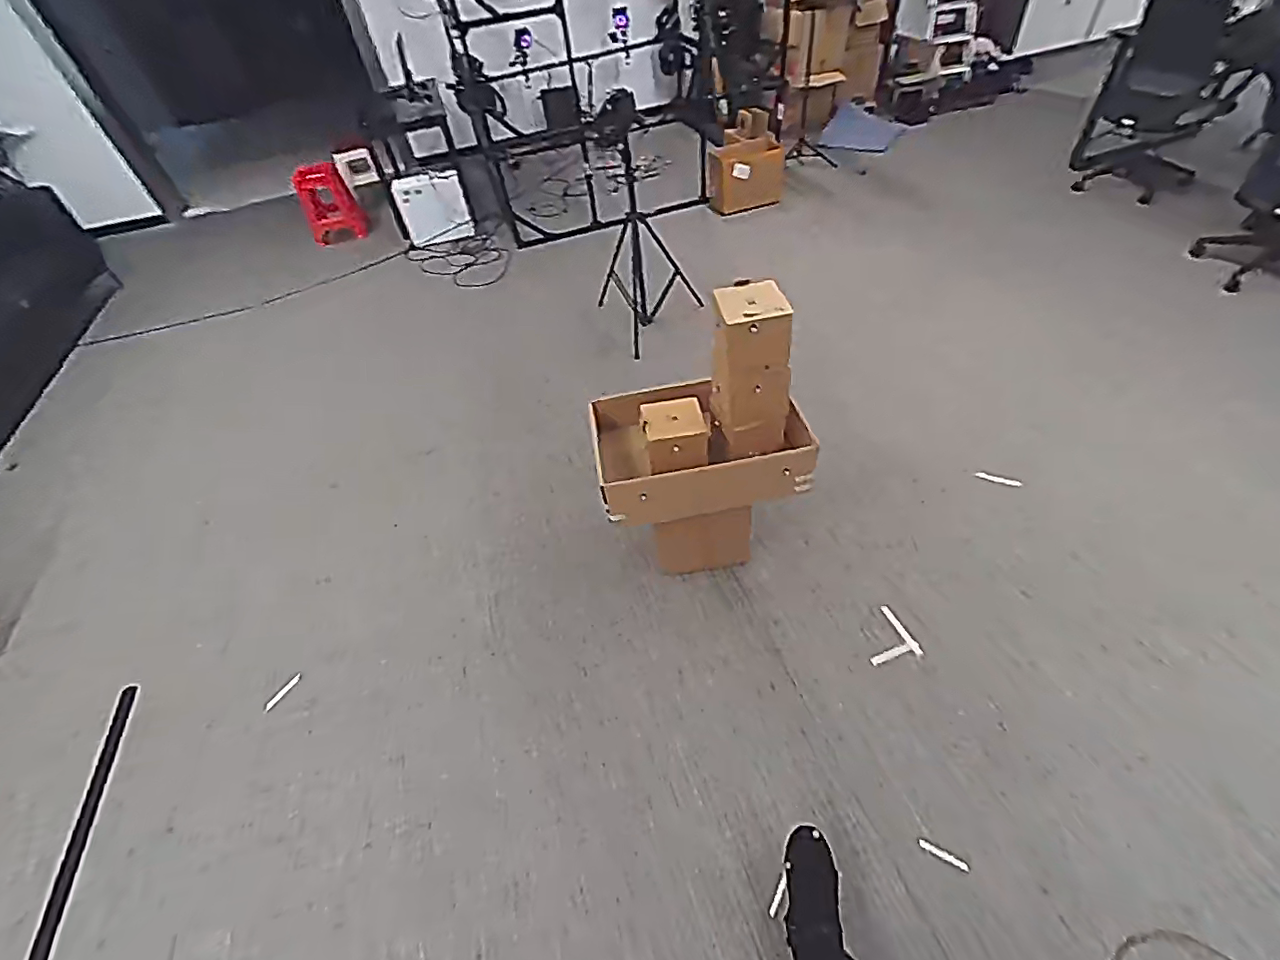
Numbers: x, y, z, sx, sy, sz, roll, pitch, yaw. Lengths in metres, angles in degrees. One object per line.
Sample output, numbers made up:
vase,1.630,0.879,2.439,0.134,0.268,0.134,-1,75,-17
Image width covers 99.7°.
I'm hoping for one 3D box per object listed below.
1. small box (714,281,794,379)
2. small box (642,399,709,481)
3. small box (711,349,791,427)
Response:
small box,0.288,-0.385,1.395,0.168,0.176,0.179,-10,45,2
small box,0.107,-0.119,1.628,0.179,0.176,0.168,-10,46,-1
small box,0.308,-0.270,1.511,0.179,0.176,0.168,-14,47,-3
